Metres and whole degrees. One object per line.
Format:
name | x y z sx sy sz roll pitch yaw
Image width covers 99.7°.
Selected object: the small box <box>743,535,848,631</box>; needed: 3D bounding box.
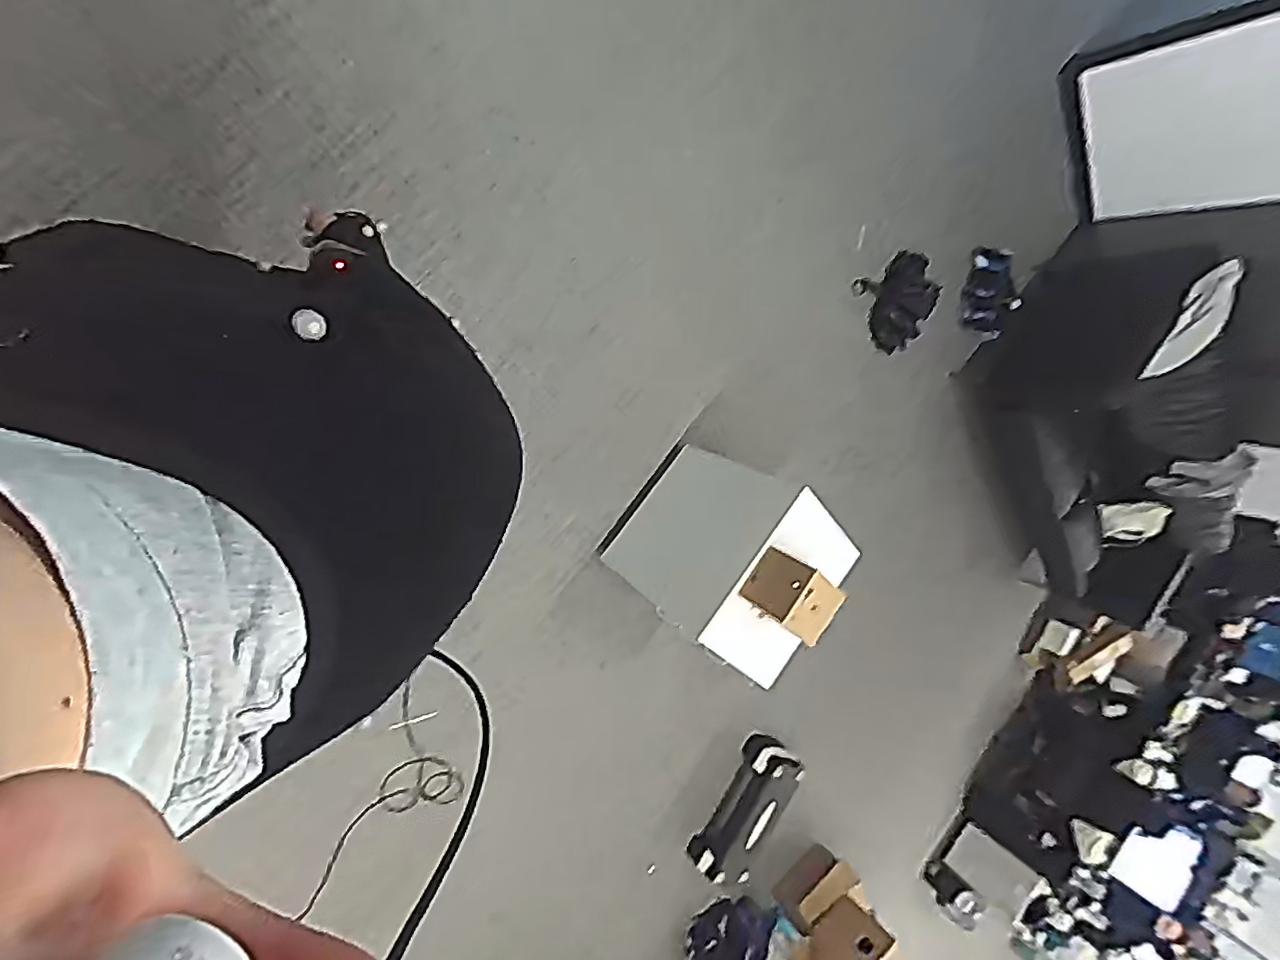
small box | 0.413 0.269 1.446 0.179 0.176 0.168 38 83 -37
